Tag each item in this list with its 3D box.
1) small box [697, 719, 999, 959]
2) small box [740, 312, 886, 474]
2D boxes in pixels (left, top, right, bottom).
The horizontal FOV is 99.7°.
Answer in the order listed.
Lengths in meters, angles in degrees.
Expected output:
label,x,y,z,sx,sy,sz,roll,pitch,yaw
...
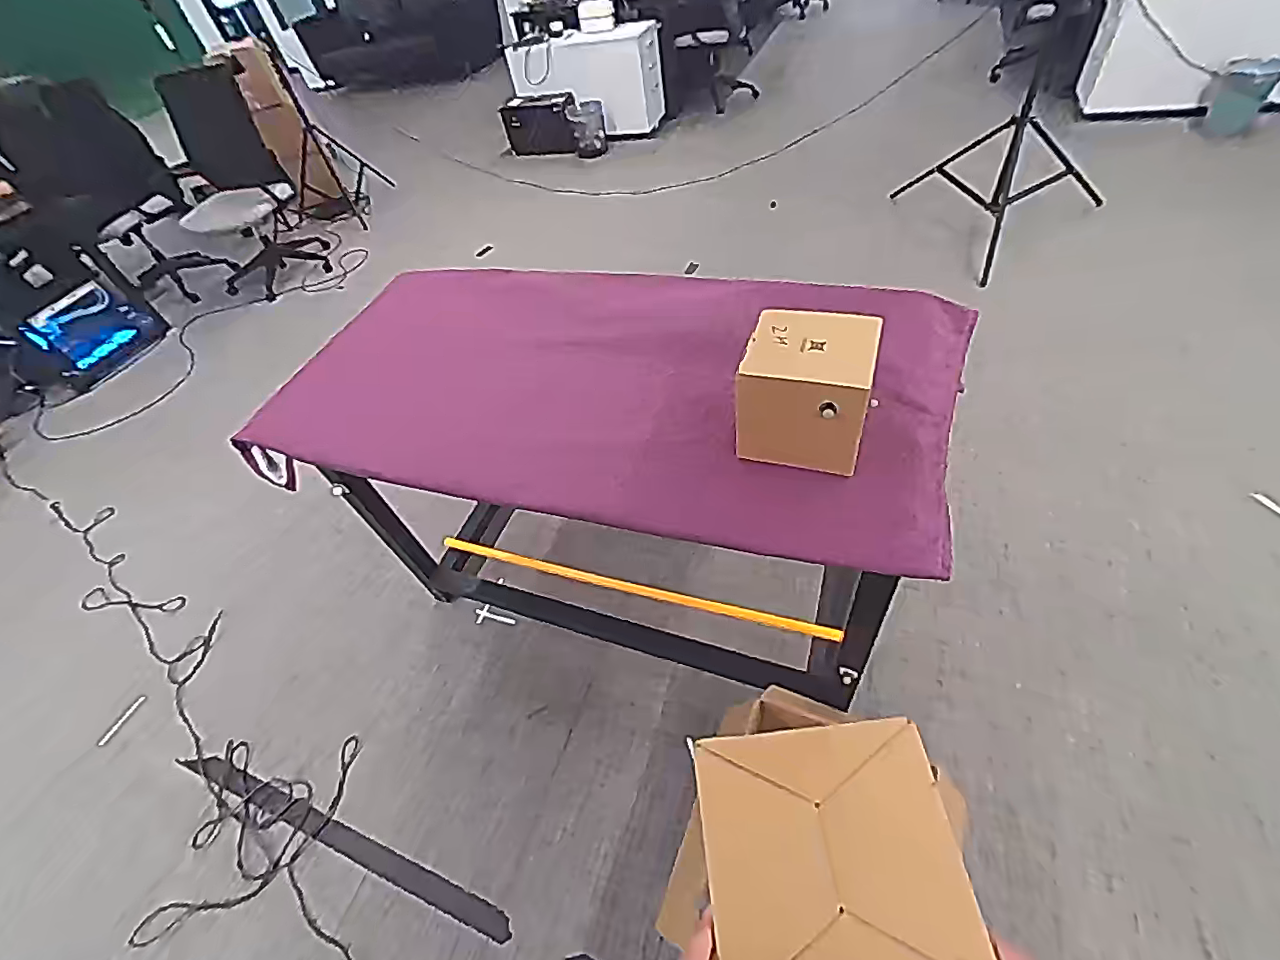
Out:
label,x,y,z,sx,sy,sz,roll,pitch,yaw
small box,0.145,0.308,0.445,0.179,0.176,0.168,-9,52,4
small box,0.257,-0.130,0.820,0.179,0.176,0.168,11,51,20
